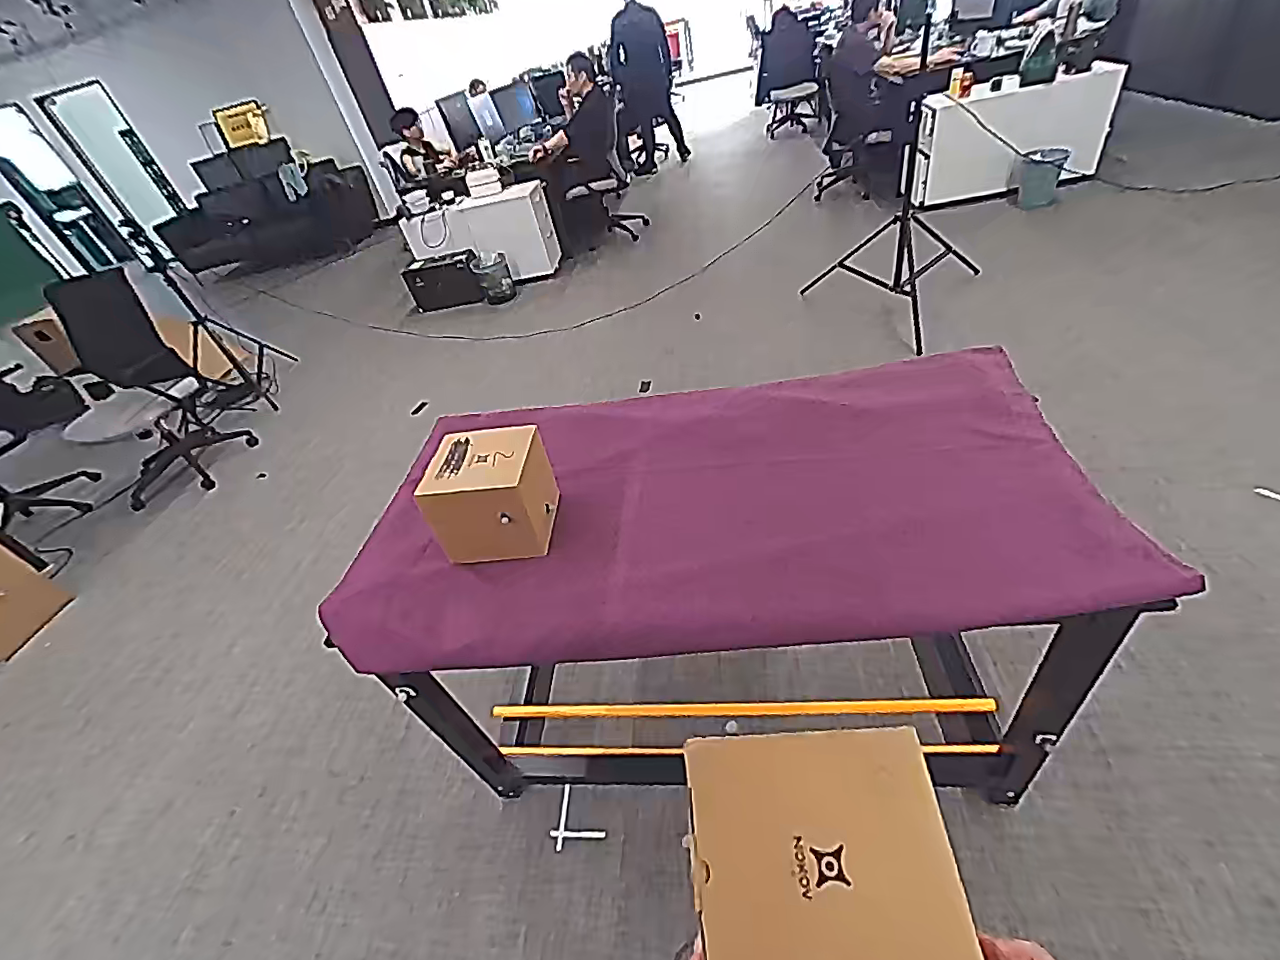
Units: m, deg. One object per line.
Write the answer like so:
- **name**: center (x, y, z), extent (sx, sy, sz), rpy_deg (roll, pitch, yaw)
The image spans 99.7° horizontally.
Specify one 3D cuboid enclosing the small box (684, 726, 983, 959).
- **small box**: center (0.131, 0.300, 0.433), extent (0.179, 0.176, 0.168), rpy_deg (-7, 57, 4)
